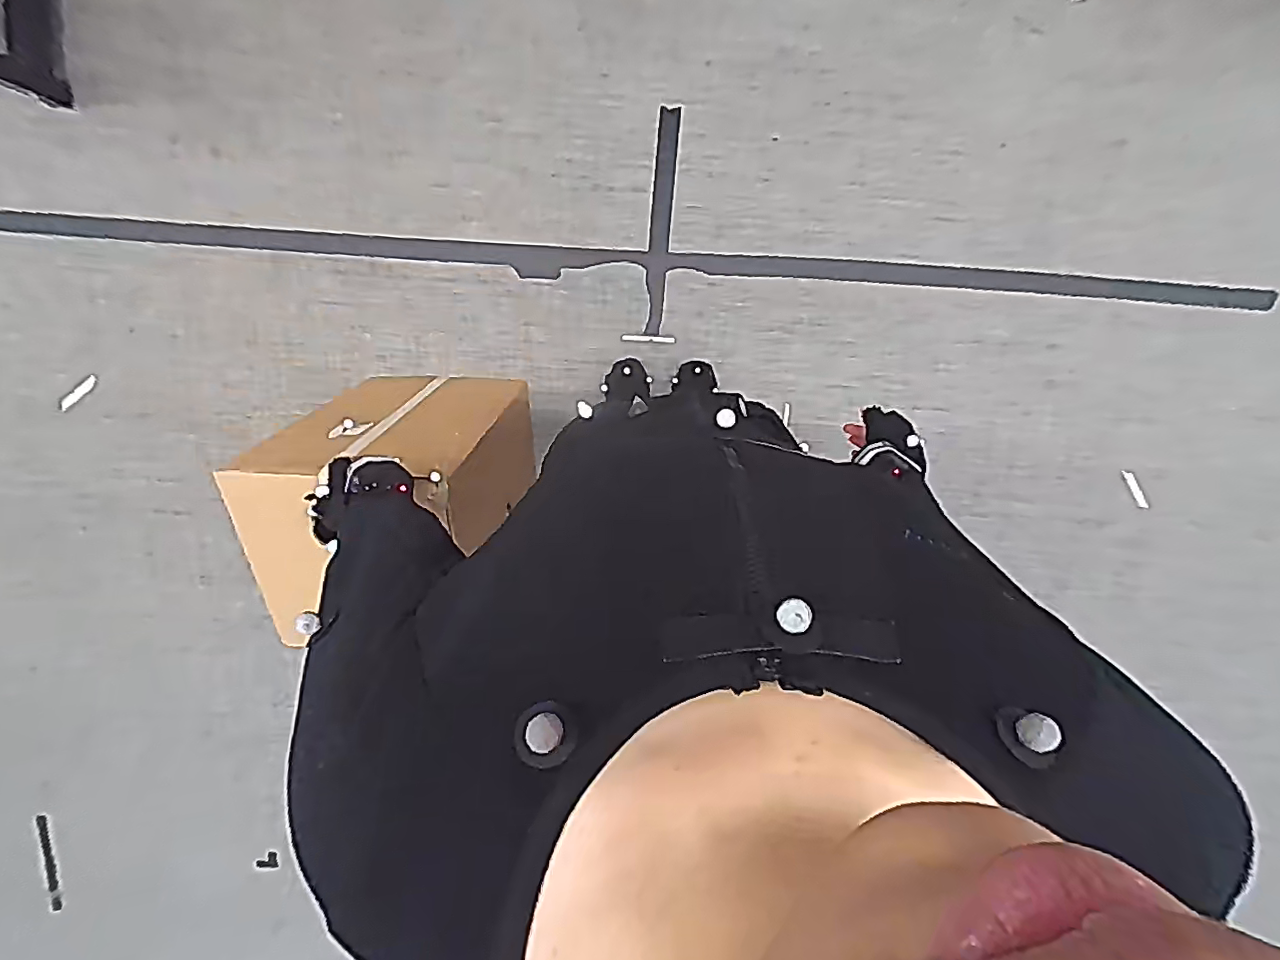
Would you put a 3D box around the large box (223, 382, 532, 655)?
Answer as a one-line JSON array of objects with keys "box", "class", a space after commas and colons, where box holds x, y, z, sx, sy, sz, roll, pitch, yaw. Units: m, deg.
[{"box": [-0.390, 0.043, 0.945, 0.320, 0.408, 0.320, 1, 119, 3], "class": "large box"}]
